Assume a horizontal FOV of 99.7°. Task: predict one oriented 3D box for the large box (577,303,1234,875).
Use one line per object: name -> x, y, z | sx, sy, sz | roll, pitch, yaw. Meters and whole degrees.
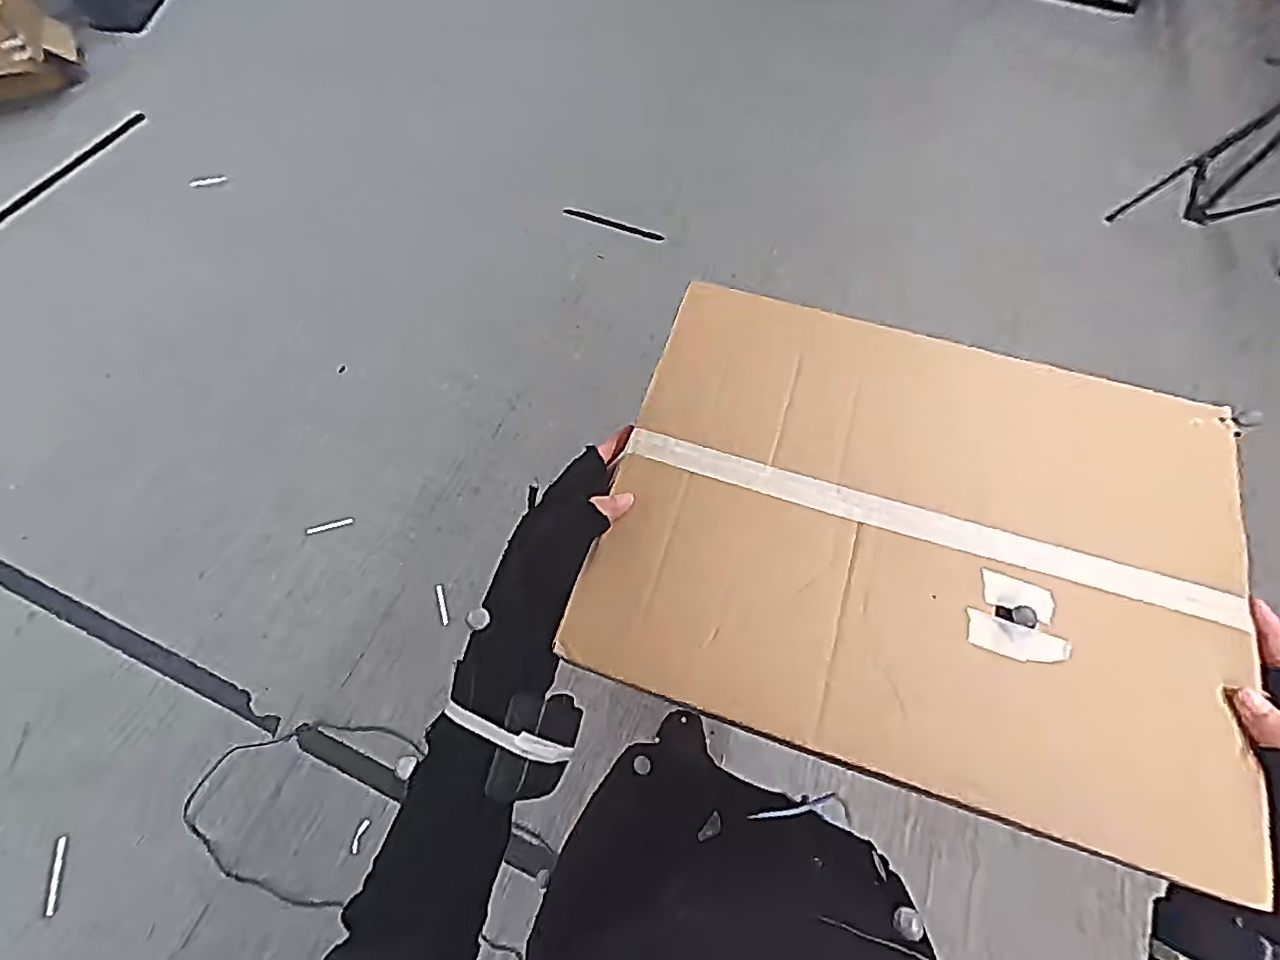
large box -> 0.192, 0.090, 0.518 | 0.408, 0.320, 0.320 | 17, 70, 8
